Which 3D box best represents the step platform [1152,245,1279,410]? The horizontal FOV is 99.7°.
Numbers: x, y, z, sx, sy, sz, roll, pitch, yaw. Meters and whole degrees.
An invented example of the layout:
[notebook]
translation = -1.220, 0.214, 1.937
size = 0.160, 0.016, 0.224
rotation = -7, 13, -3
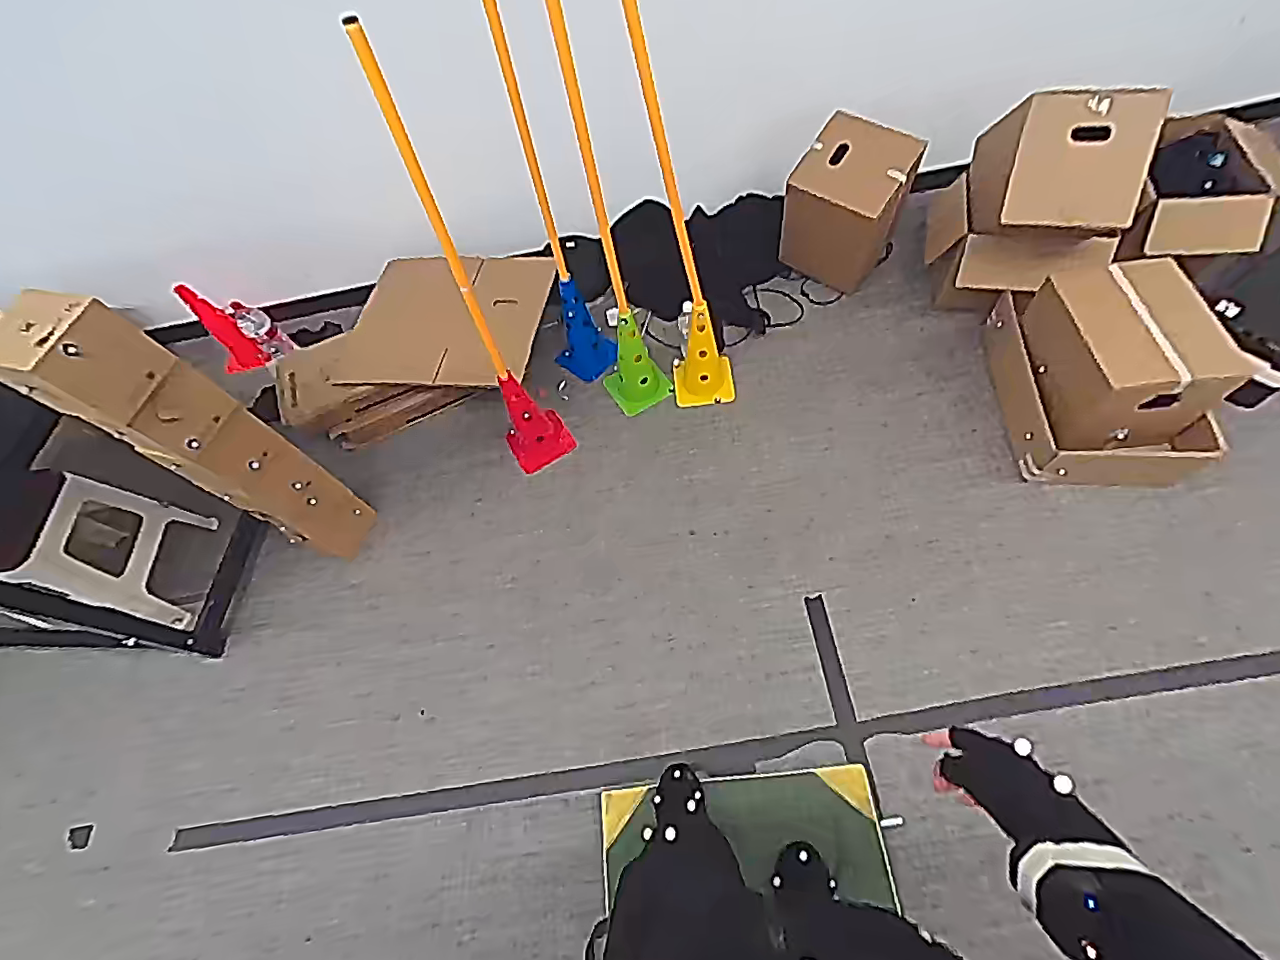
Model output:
[step platform]
translation = 1.933, -0.509, 1.627
size = 0.684, 0.204, 0.286
rotation = -35, 62, -10
